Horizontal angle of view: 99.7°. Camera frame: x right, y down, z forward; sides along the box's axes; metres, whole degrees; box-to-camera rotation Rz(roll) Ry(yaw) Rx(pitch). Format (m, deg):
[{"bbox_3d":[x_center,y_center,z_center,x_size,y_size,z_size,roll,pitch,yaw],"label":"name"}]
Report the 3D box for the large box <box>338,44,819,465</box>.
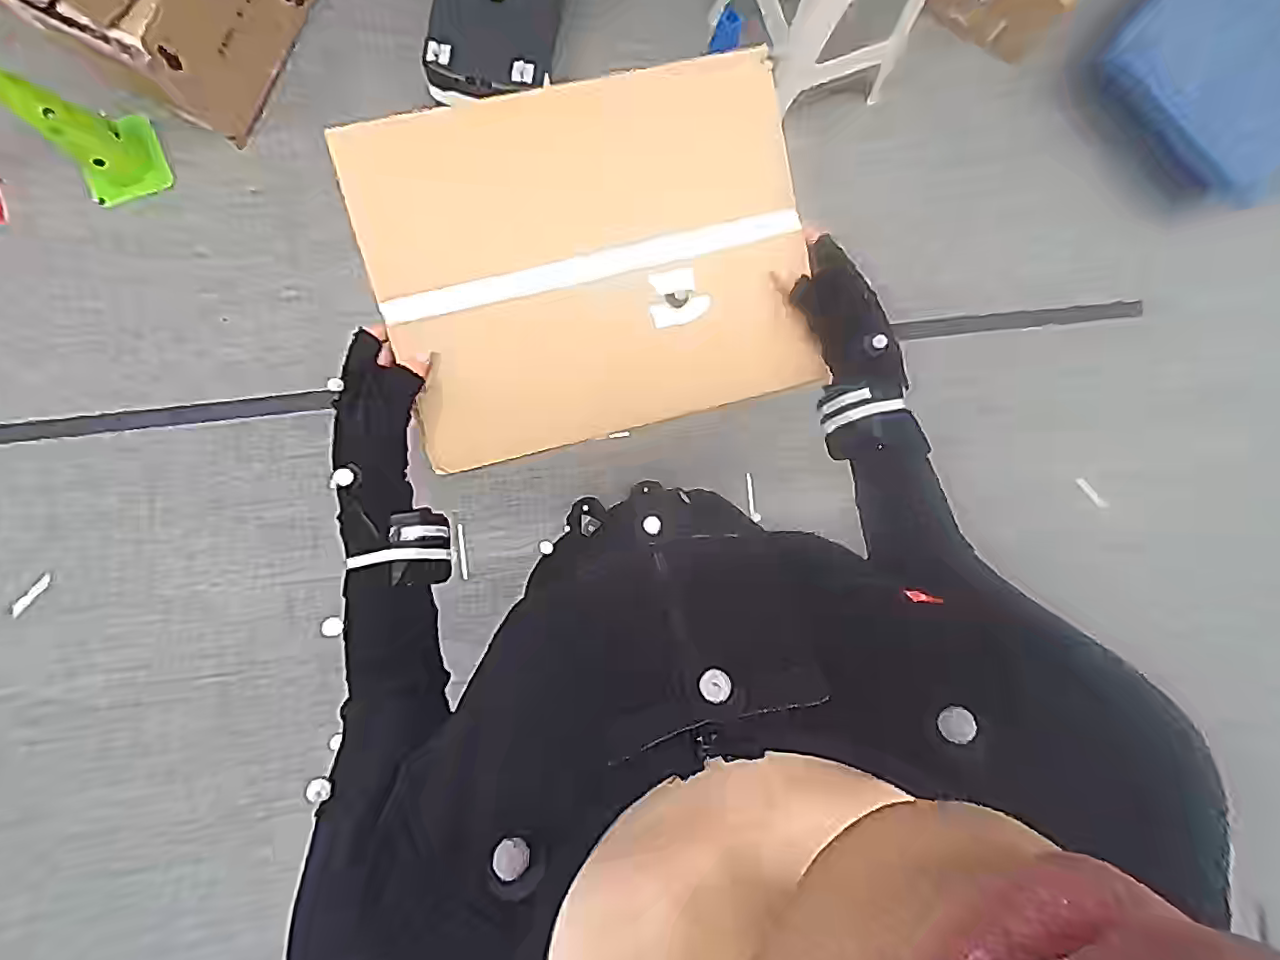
[{"bbox_3d":[-0.062,-0.233,0.661,0.408,0.320,0.320,-16,102,-6],"label":"large box"}]
